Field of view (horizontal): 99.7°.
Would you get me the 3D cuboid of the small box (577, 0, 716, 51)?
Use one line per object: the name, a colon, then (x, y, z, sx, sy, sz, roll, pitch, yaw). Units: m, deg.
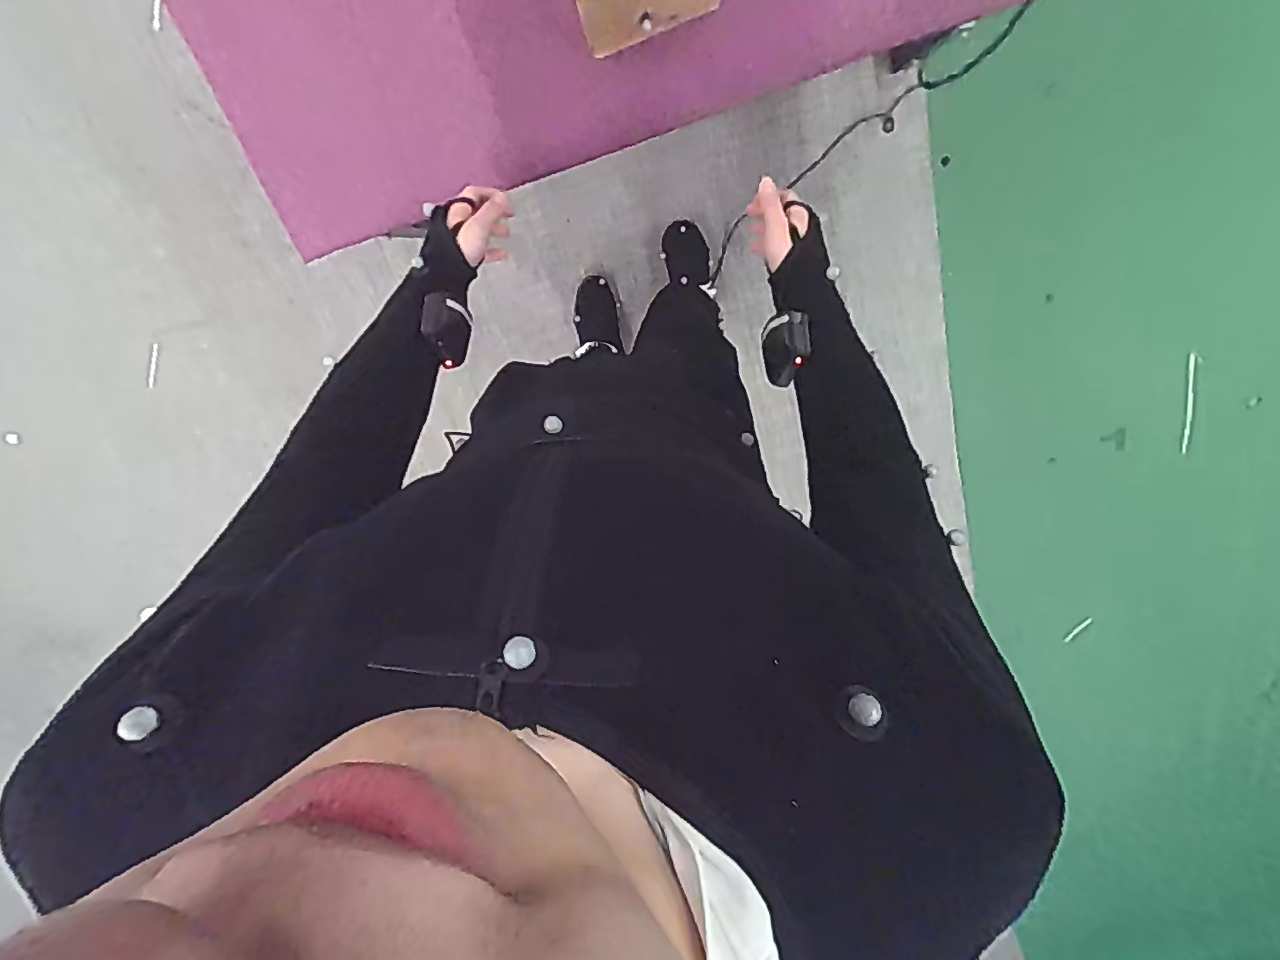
small box: (-0.007, -0.603, 0.566, 0.168, 0.176, 0.179, -17, 111, 7)
